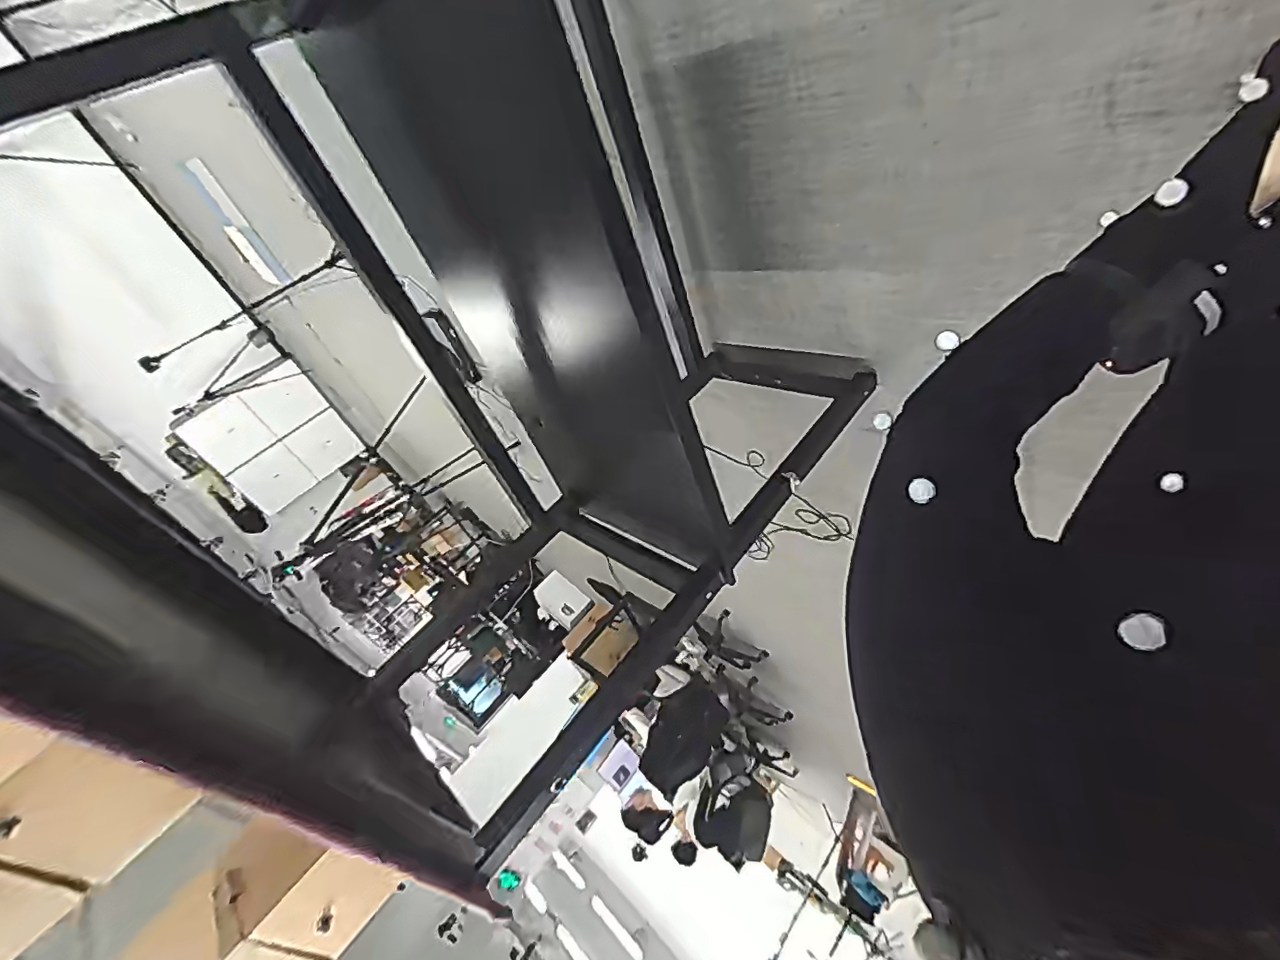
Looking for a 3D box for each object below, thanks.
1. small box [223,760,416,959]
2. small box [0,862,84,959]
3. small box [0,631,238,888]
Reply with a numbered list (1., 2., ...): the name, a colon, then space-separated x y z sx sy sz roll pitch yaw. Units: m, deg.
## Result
1. small box: -0.486 0.579 0.837 0.168 0.176 0.179 19 145 42
2. small box: -0.726 0.413 0.559 0.179 0.176 0.168 22 146 45
3. small box: -0.617 0.313 0.627 0.168 0.176 0.179 23 148 43
